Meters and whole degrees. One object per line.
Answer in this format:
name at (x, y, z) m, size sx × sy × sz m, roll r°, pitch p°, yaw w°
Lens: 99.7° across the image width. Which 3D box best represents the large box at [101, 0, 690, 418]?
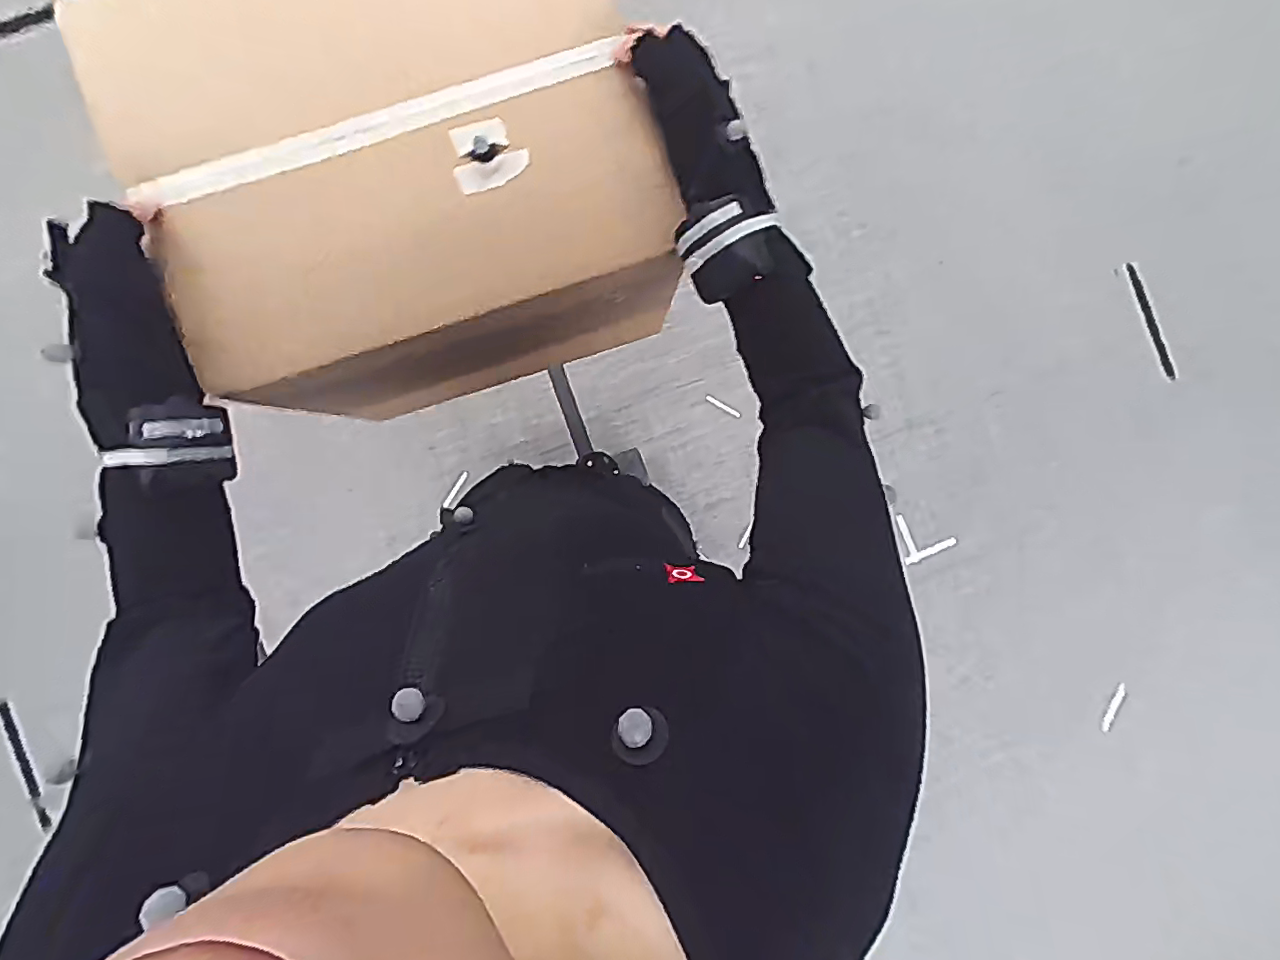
large box at (-0.200, -0.285, 0.585) m, size 0.408 × 0.320 × 0.320 m, roll -19°, pitch 94°, yaw -2°
